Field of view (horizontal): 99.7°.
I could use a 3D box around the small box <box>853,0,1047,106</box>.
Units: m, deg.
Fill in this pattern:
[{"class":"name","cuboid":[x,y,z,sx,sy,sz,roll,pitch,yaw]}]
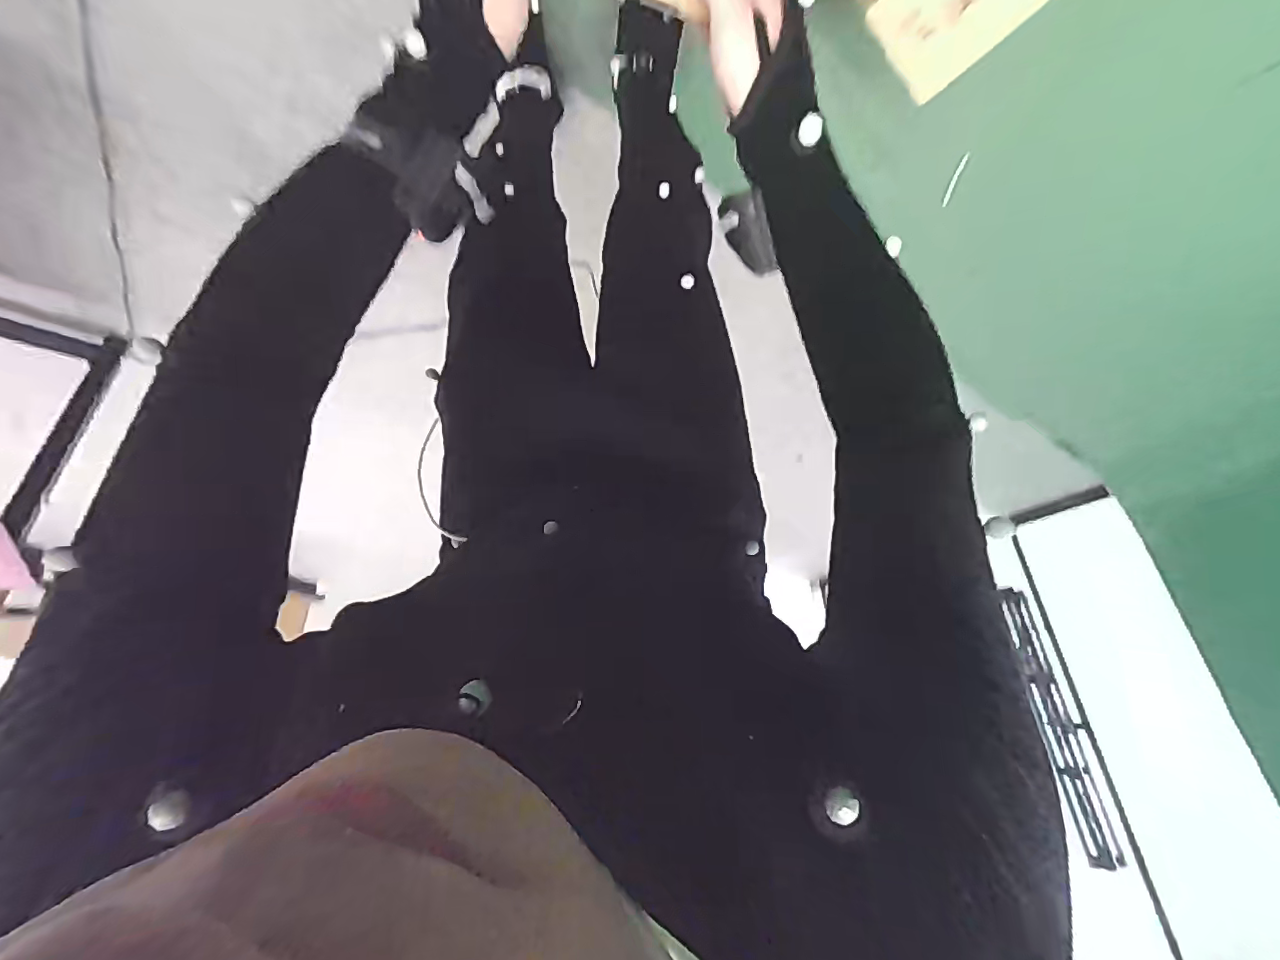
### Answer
[{"class":"small box","cuboid":[0.395,-0.667,0.719,0.168,0.176,0.179,22,144,-37]}]
